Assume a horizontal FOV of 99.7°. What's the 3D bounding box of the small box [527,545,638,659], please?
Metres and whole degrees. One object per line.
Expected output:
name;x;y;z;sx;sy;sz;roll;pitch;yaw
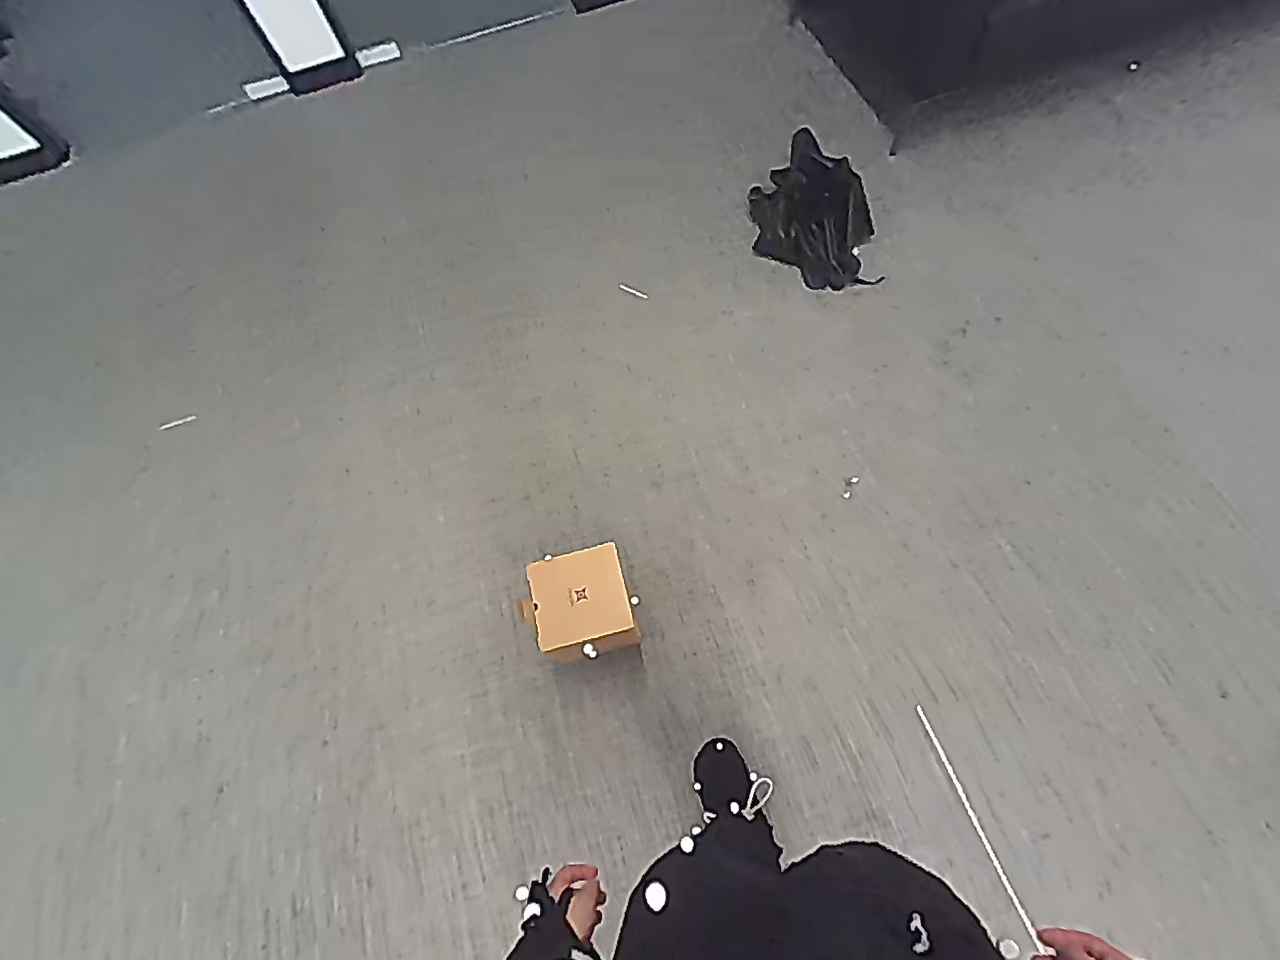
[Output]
small box;-0.104;0.243;1.055;0.179;0.176;0.168;-15;67;-1
